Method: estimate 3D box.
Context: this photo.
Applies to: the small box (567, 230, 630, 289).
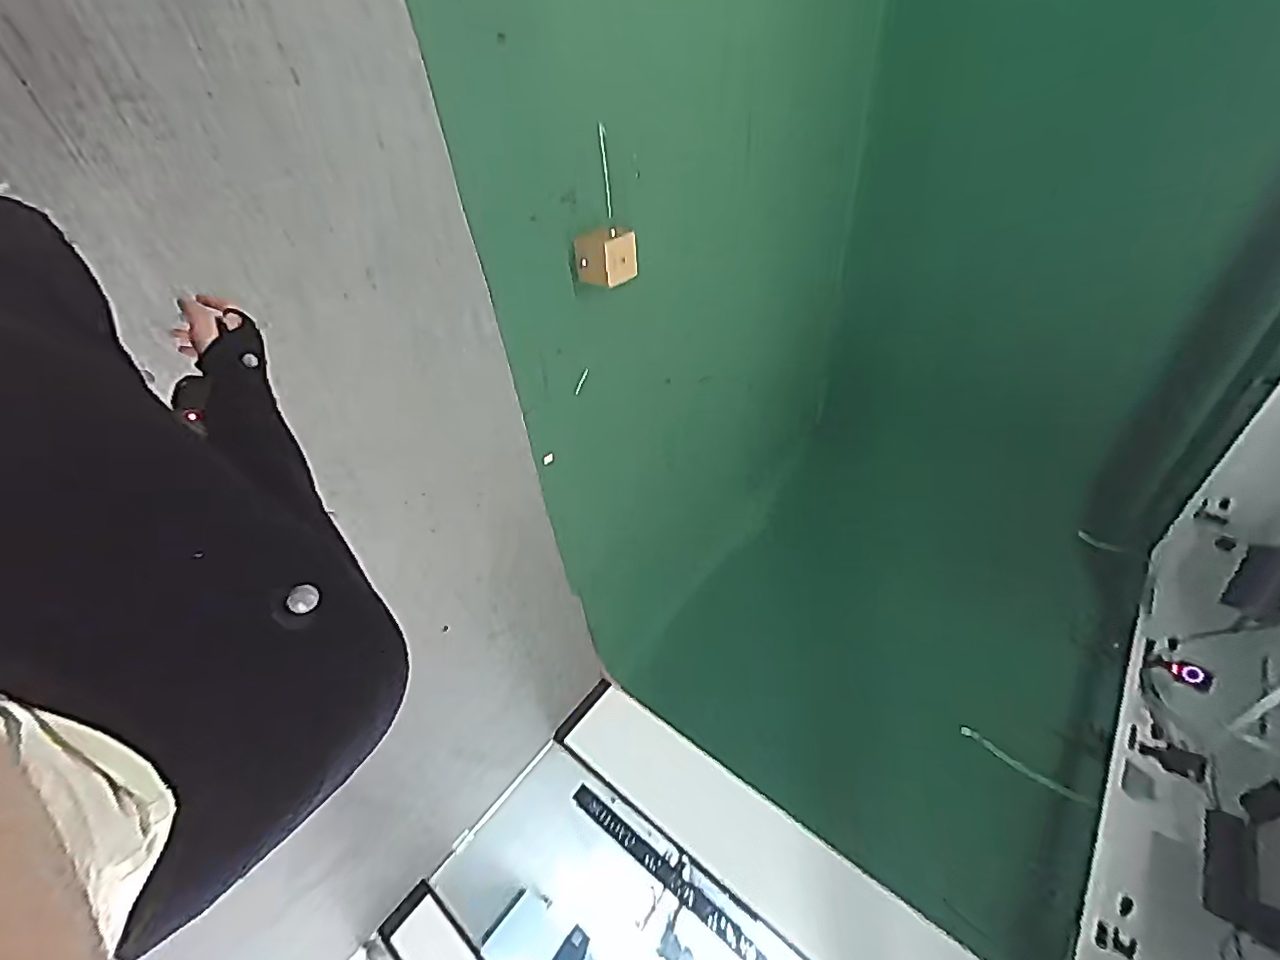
[{"bbox_3d":[-0.162,-0.873,2.129,0.179,0.176,0.168,-40,140,-35],"label":"small box"}]
